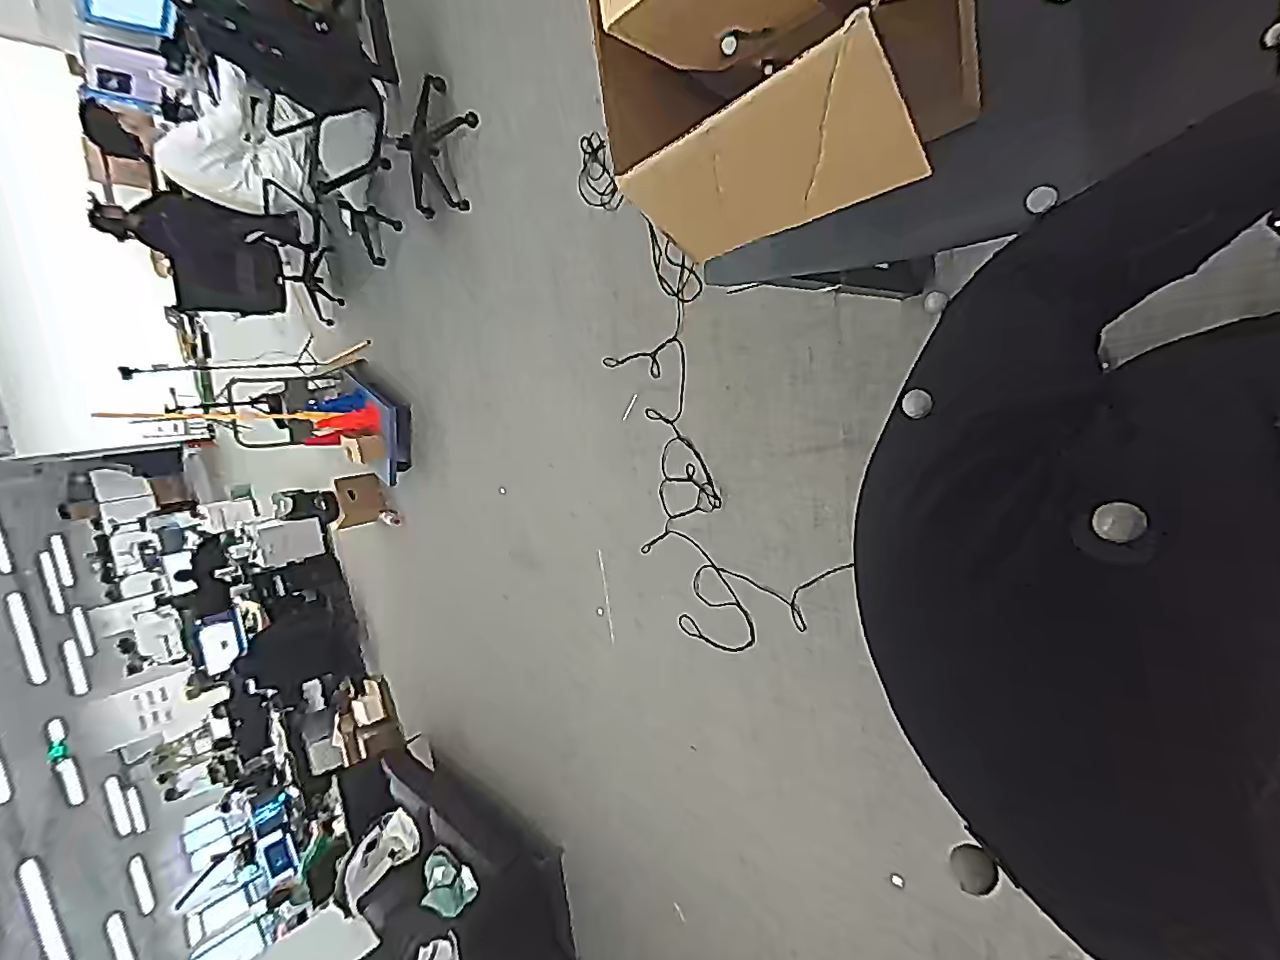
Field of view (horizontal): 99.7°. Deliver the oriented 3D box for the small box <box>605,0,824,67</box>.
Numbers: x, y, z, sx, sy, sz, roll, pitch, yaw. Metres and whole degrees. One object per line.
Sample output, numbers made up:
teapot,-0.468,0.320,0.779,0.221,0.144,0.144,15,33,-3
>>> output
small box,0.073,-0.561,0.534,0.168,0.176,0.179,5,107,44
